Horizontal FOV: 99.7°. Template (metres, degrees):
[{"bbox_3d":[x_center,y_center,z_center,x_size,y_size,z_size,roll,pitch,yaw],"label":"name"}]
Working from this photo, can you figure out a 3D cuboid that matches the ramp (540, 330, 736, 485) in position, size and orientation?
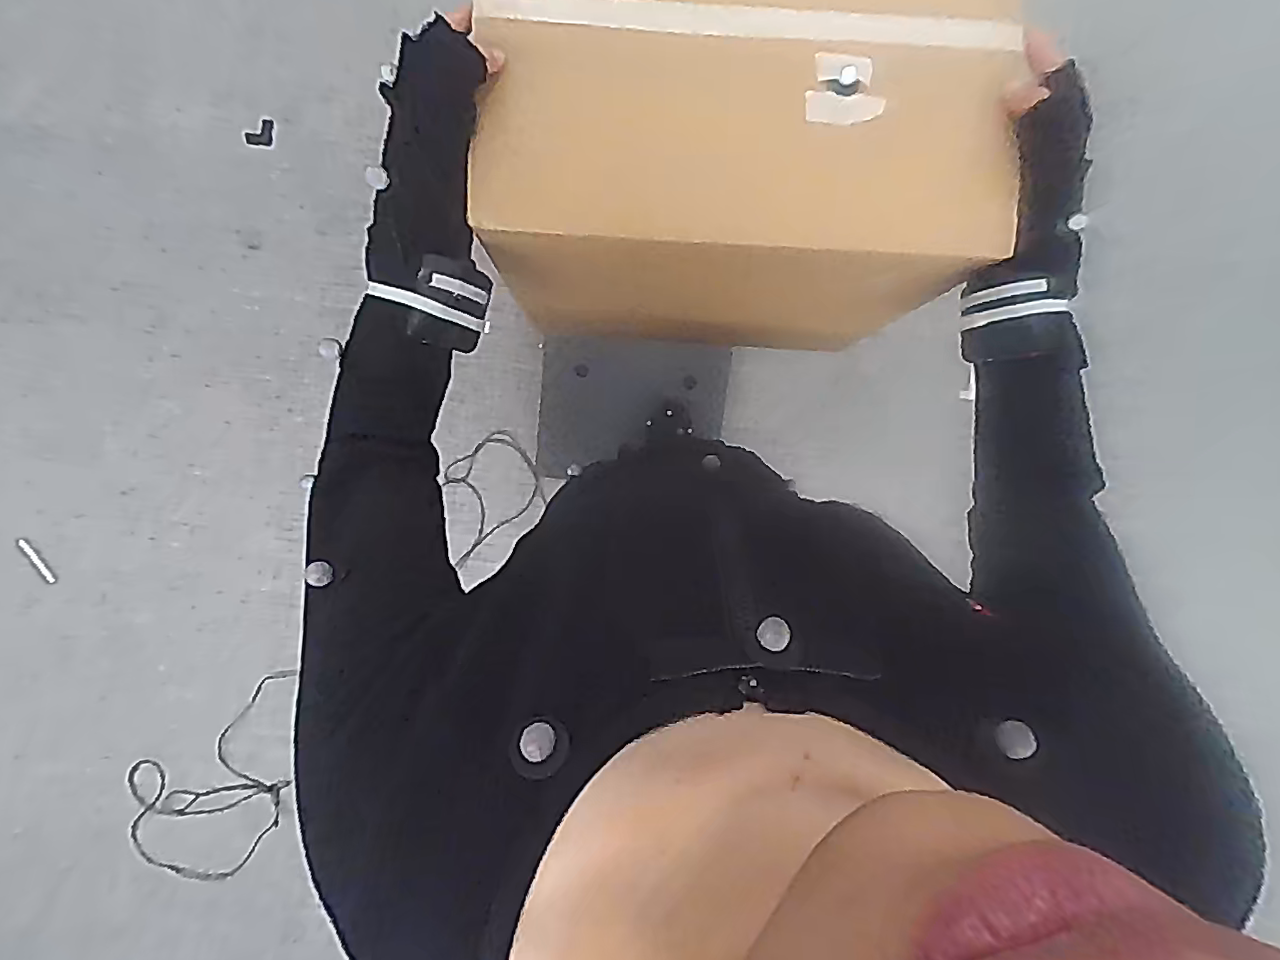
[{"bbox_3d":[0.018,-0.487,1.385,0.509,0.206,0.991,4,93,-4],"label":"ramp"}]

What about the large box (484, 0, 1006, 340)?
[{"bbox_3d":[0.075,-0.340,0.560,0.408,0.320,0.320,2,91,-3],"label":"large box"}]
